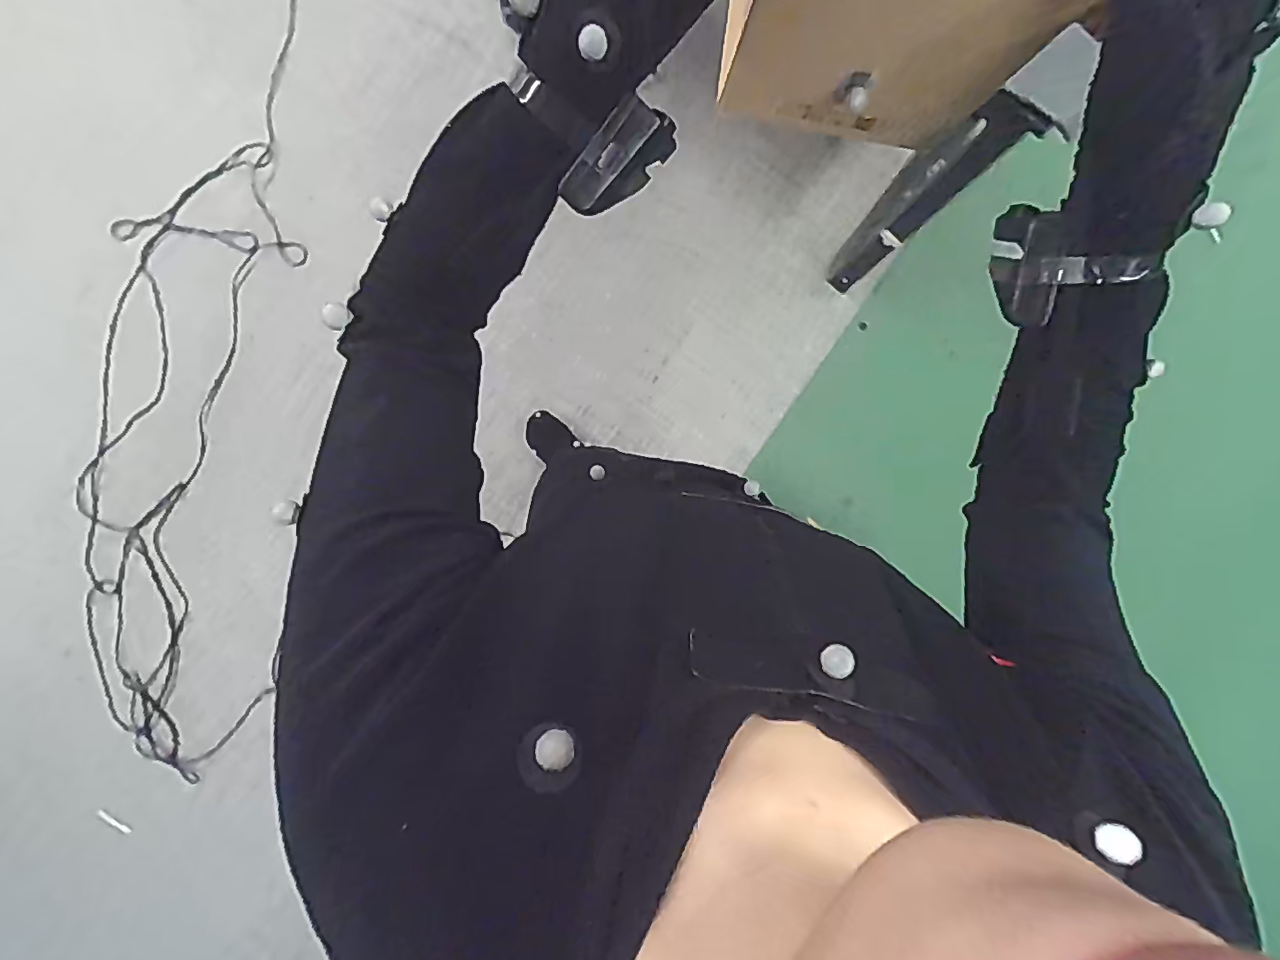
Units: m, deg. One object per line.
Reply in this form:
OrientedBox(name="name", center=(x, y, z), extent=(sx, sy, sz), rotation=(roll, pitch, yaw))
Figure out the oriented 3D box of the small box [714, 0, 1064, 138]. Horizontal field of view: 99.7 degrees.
OrientedBox(name="small box", center=(0.146, -0.344, 0.312), extent=(0.168, 0.176, 0.179), rotation=(7, 93, -4))
